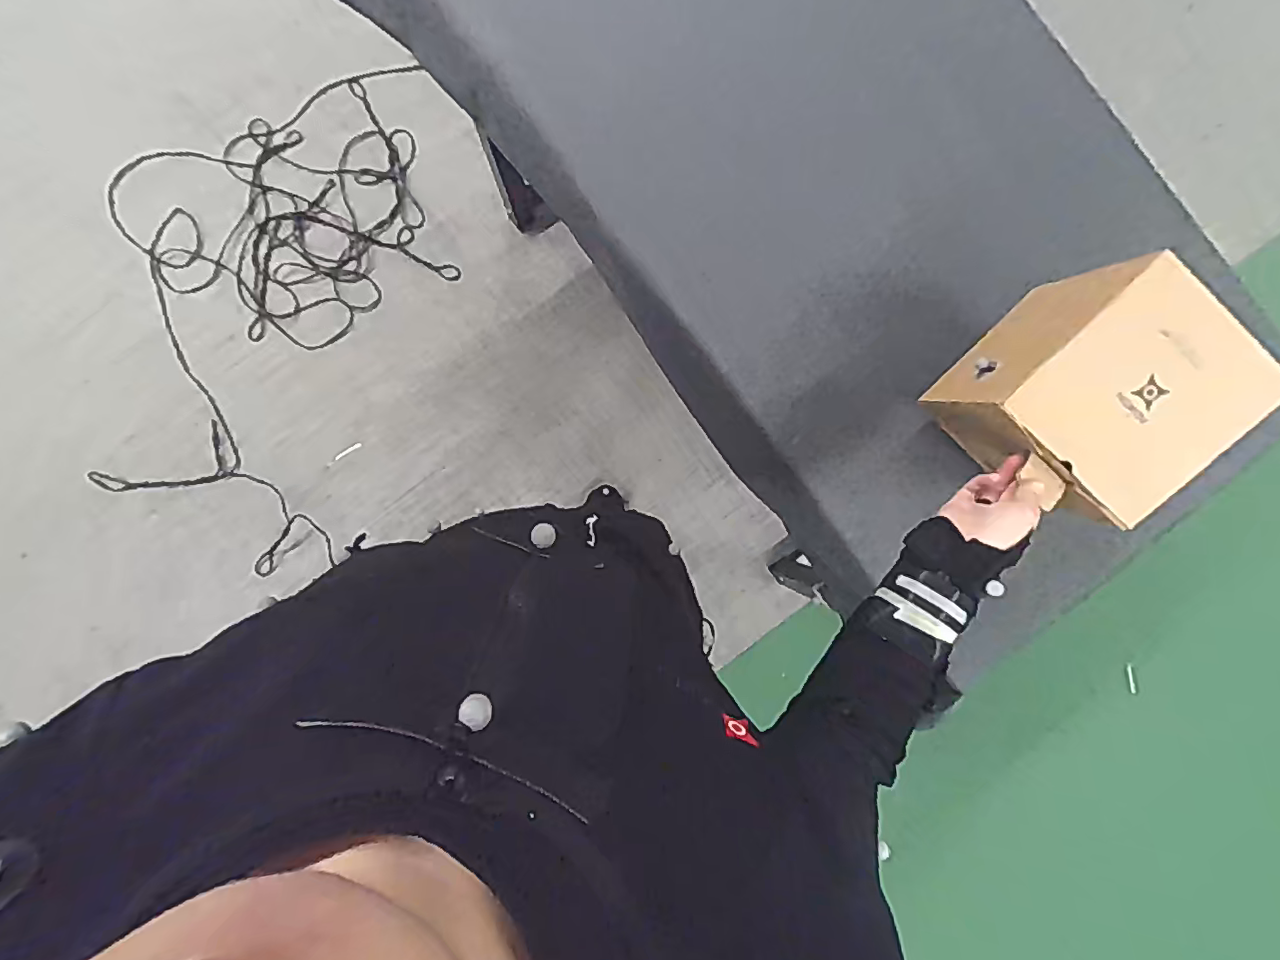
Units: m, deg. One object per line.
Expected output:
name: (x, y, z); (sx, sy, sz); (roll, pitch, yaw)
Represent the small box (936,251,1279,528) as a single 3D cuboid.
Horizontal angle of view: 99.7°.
small box: (0.432, -0.084, 0.535); (0.168, 0.176, 0.179); (43, 98, -5)
